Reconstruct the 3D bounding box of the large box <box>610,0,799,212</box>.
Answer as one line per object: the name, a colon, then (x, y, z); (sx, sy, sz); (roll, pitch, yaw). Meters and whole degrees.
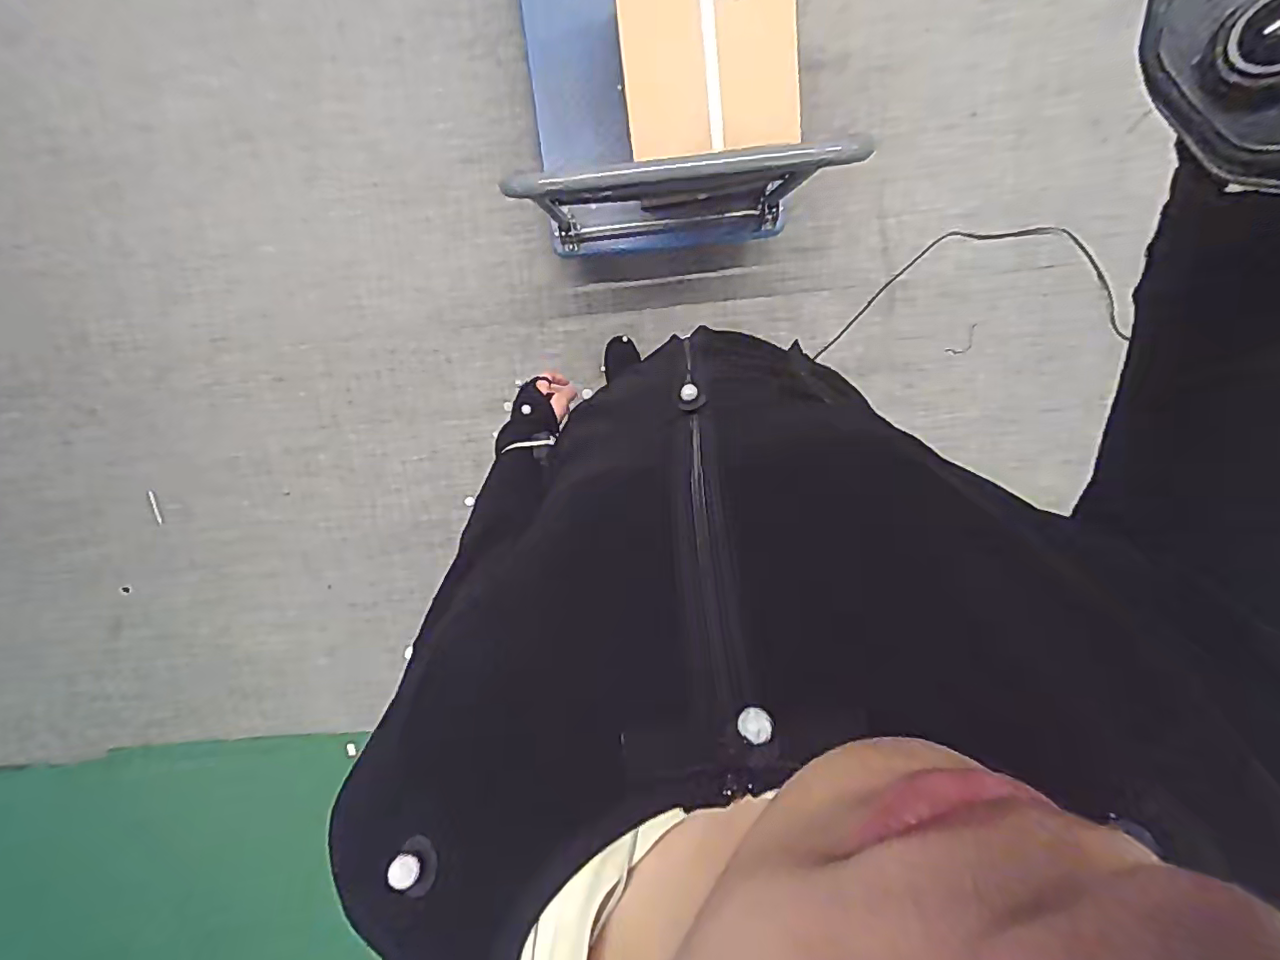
large box: (0.119, -0.816, 1.100); (0.320, 0.320, 0.408); (-7, 104, 3)
